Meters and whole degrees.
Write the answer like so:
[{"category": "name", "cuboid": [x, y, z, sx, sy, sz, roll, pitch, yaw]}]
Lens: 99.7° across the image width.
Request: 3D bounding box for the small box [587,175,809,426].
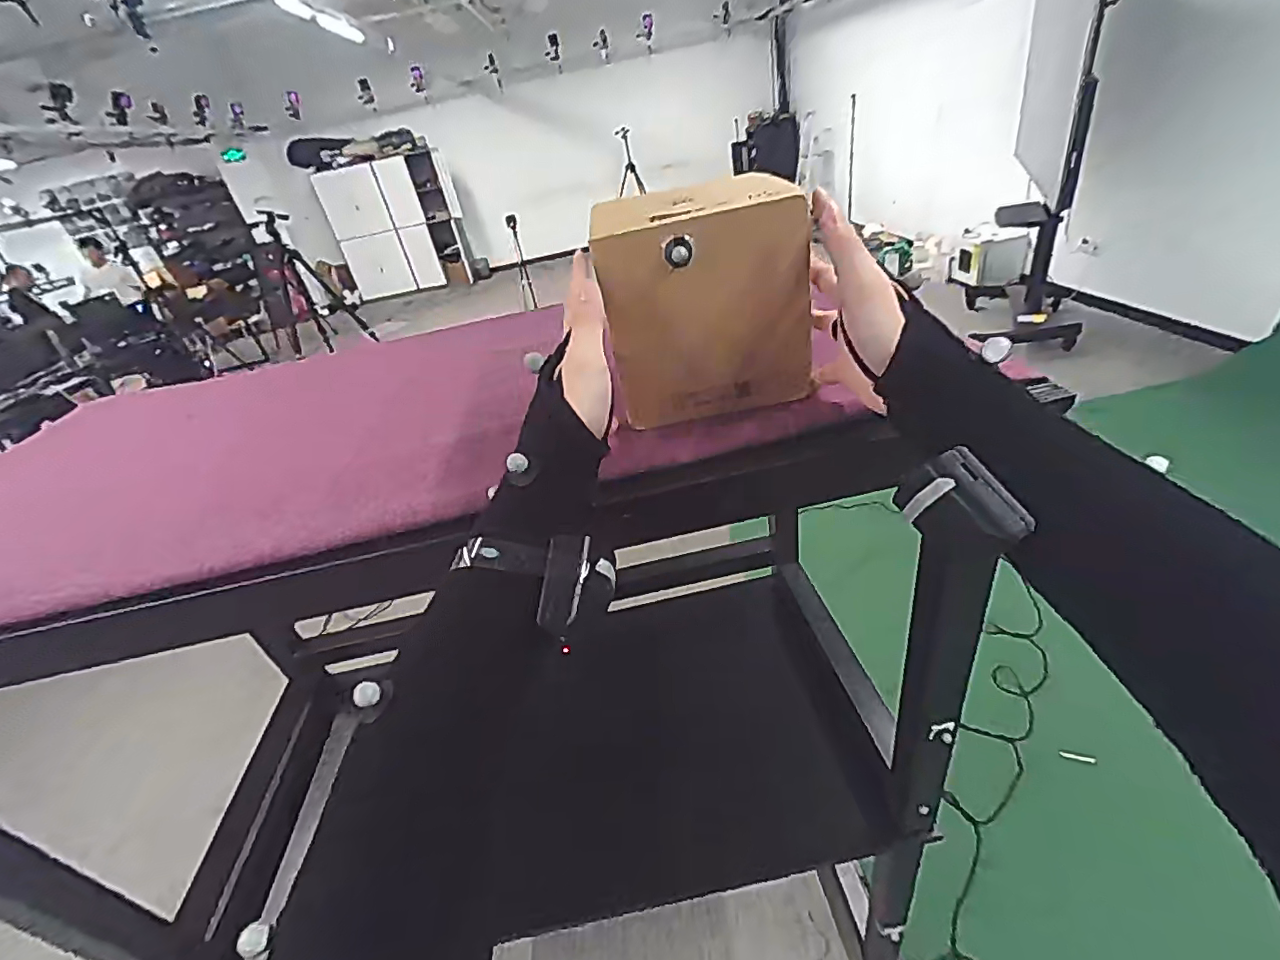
[{"category": "small box", "cuboid": [0.052, -0.171, 0.507, 0.168, 0.176, 0.179, -11, 33, 4]}]
